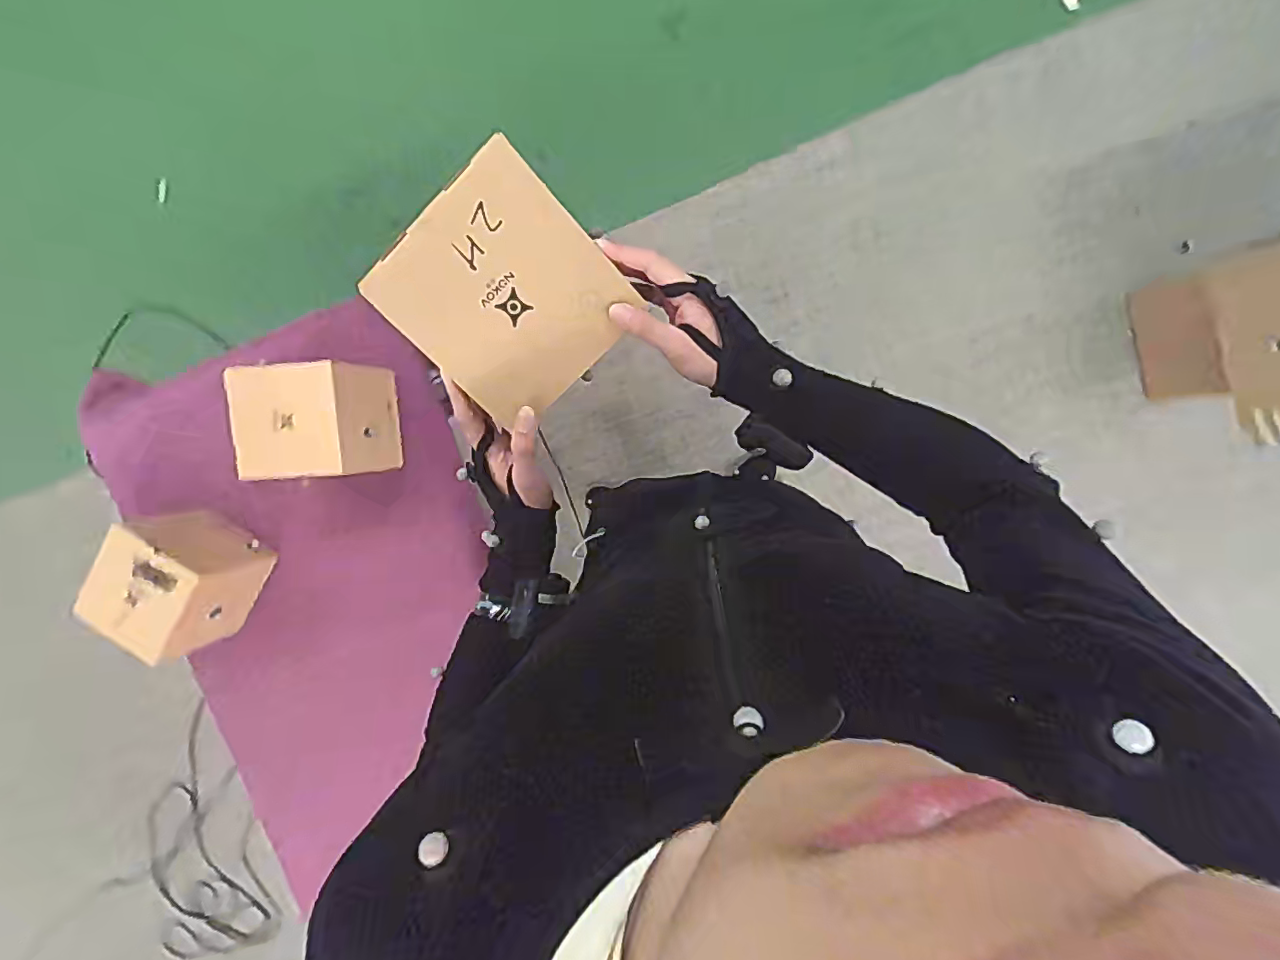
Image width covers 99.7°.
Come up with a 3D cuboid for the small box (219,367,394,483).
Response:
[{"bbox_3d":[-0.516,-0.089,0.867,0.179,0.176,0.168,-3,96,8],"label":"small box"}]

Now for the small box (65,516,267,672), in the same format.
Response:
[{"bbox_3d":[-0.786,0.180,0.918,0.168,0.176,0.179,32,97,2],"label":"small box"}]
